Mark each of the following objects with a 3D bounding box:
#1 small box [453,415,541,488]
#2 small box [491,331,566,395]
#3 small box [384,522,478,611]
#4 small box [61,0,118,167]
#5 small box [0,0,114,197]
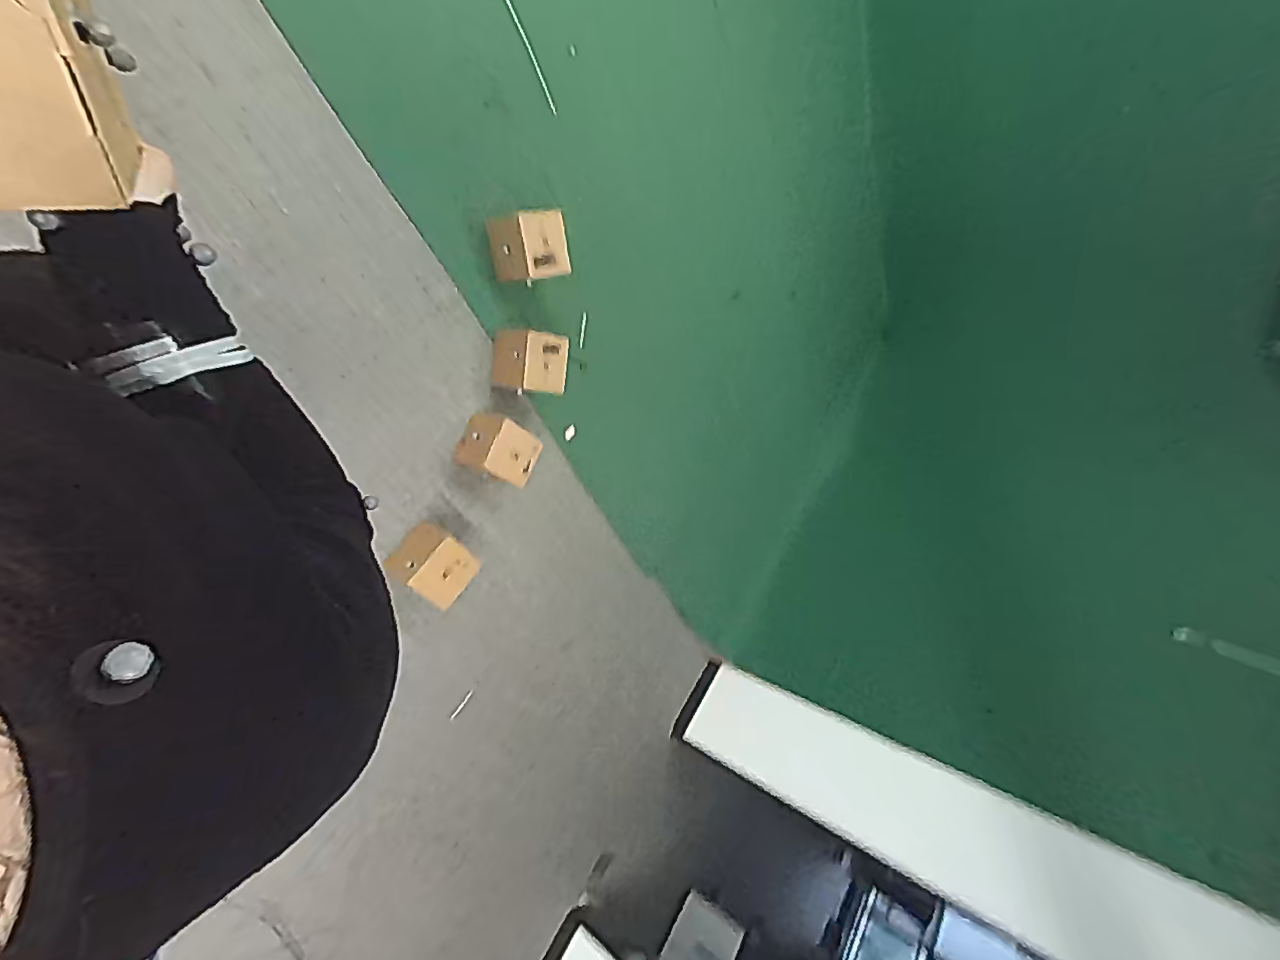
[{"bbox_3d":[-0.455,-0.092,1.706,0.179,0.176,0.168,38,72,-48],"label":"small box"},{"bbox_3d":[-0.360,-0.375,1.731,0.168,0.176,0.179,-3,104,-50],"label":"small box"},{"bbox_3d":[-0.627,0.252,1.605,0.179,0.176,0.168,-54,137,-24],"label":"small box"},{"bbox_3d":[-0.468,-0.302,0.332,0.179,0.176,0.168,-17,132,-32],"label":"small box"},{"bbox_3d":[-0.372,-0.223,0.227,0.179,0.176,0.168,-21,134,-30],"label":"small box"}]
